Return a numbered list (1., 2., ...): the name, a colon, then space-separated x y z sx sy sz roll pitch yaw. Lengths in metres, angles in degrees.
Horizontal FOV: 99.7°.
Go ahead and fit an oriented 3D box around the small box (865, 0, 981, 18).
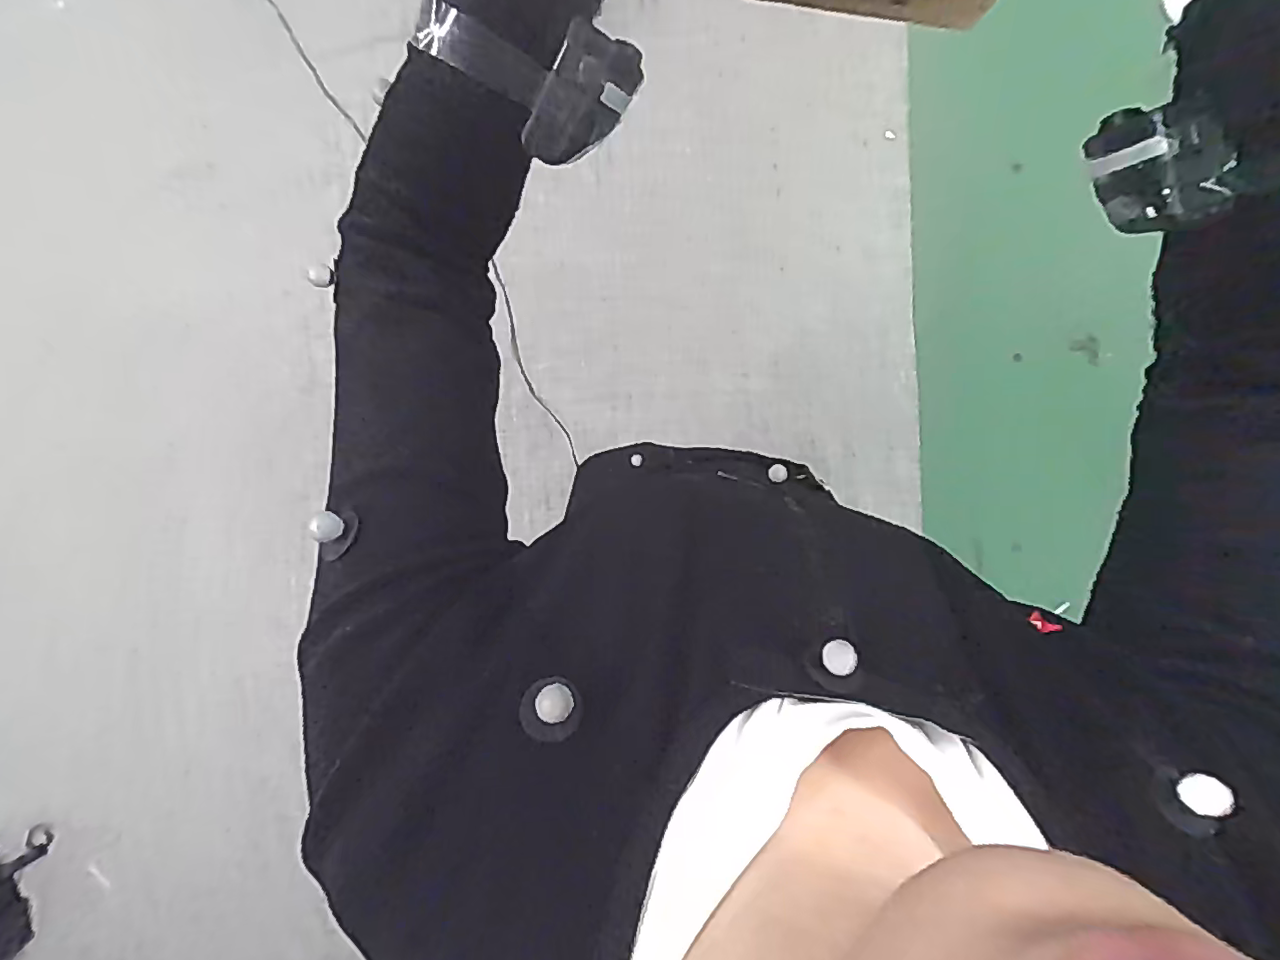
1. small box: 0.159 -0.401 0.286 0.168 0.176 0.179 5 90 -4
